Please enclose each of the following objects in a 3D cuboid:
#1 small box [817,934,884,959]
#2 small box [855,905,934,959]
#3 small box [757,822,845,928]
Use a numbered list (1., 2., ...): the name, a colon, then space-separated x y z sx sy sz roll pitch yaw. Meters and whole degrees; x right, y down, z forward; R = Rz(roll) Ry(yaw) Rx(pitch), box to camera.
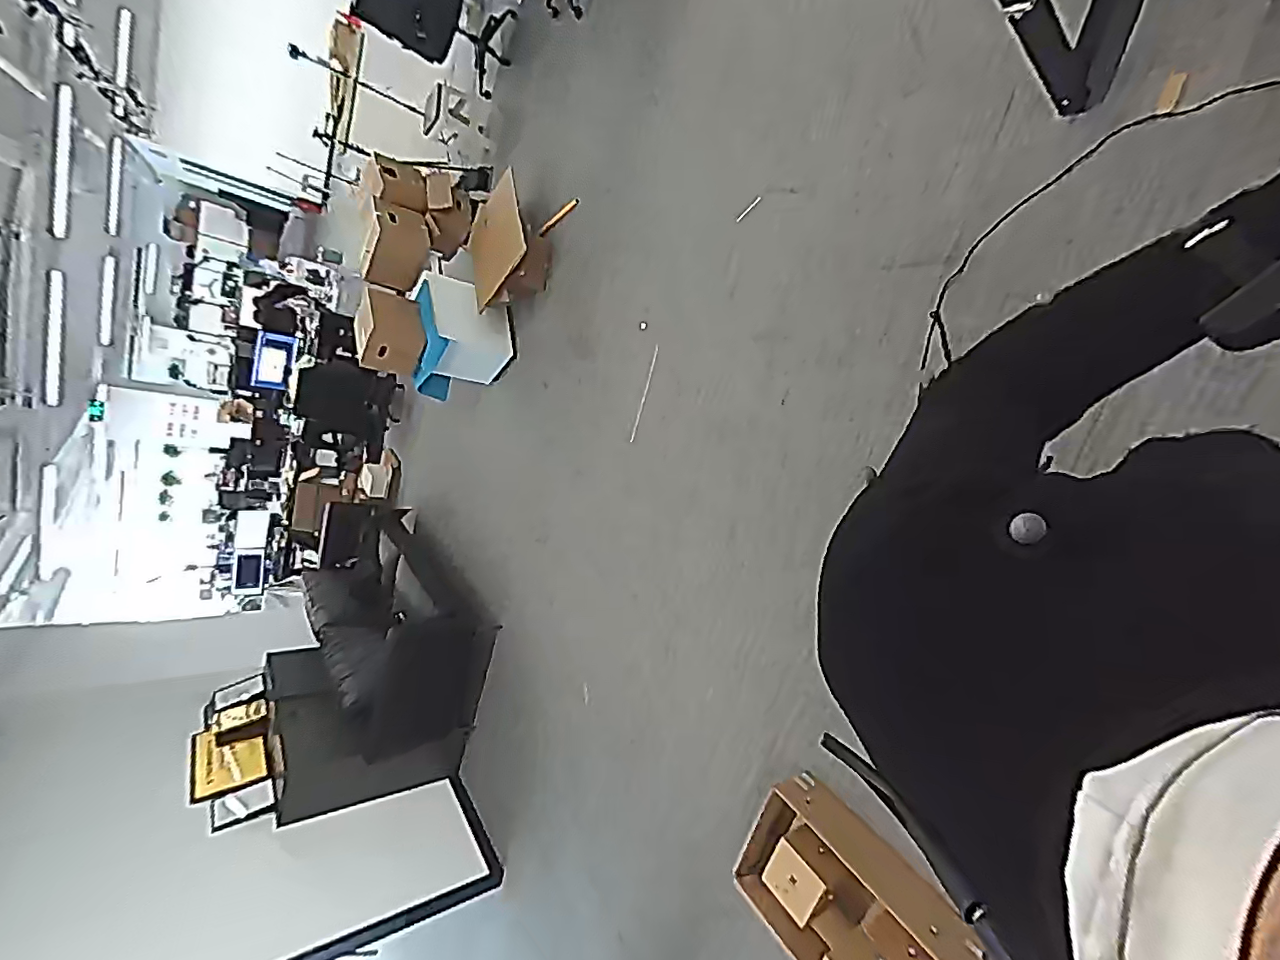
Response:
1. small box: 0.534 1.285 1.343 0.179 0.176 0.168 32 111 48
2. small box: 0.660 1.302 1.448 0.168 0.176 0.179 34 112 47
3. small box: 0.497 1.195 1.652 0.168 0.176 0.179 35 111 45
